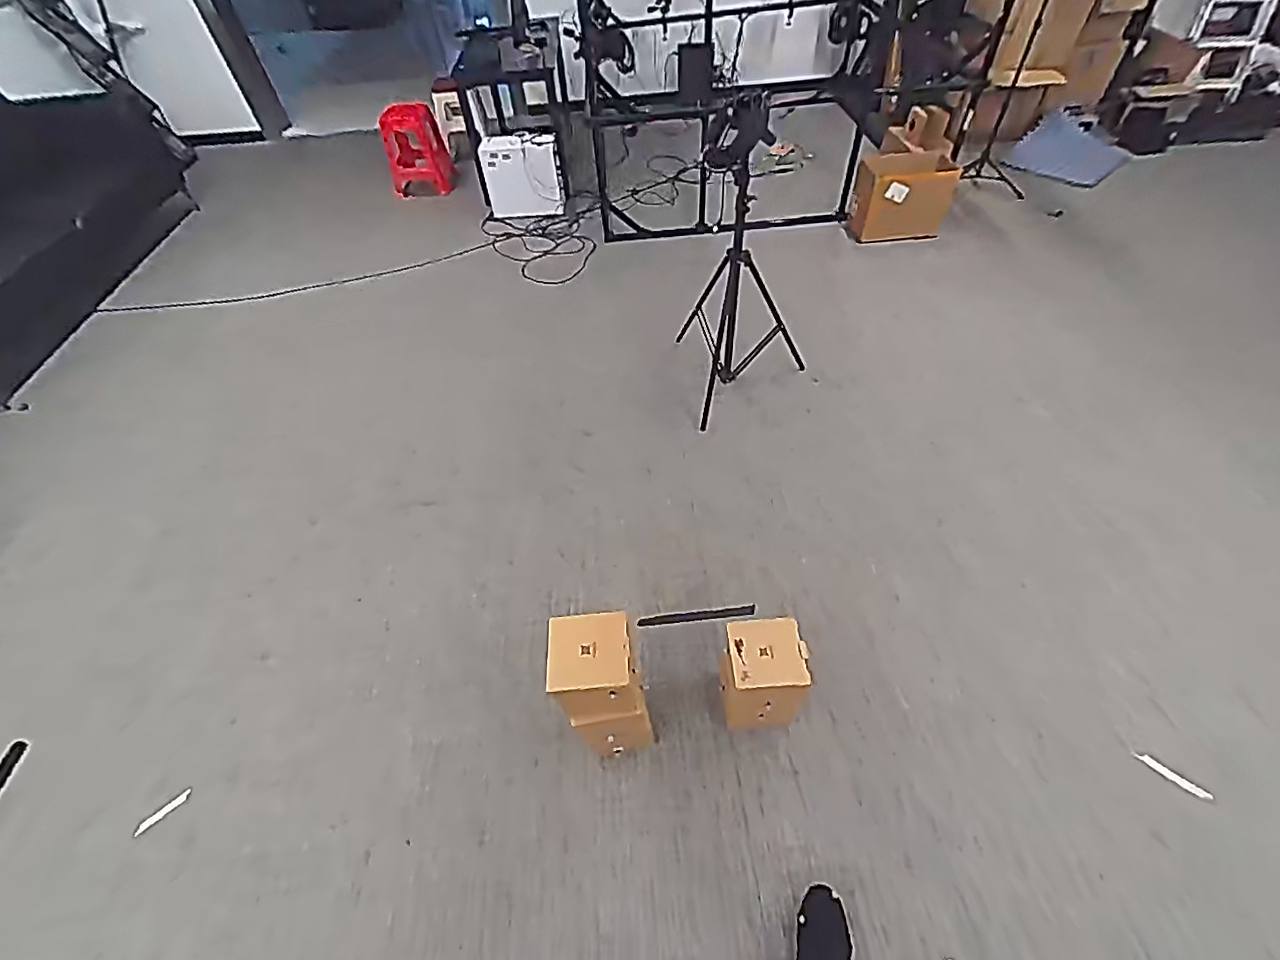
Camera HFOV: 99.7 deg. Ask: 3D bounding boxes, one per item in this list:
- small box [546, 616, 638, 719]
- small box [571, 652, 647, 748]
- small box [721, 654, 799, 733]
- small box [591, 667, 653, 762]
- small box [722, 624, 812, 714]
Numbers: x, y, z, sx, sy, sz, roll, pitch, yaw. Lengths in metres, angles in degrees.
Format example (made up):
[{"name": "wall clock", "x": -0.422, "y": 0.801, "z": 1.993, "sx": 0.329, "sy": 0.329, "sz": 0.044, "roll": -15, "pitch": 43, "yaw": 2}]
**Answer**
[{"name": "small box", "x": -0.102, "y": 0.422, "z": 1.209, "sx": 0.179, "sy": 0.176, "sz": 0.168, "roll": -5, "pitch": 50, "yaw": 1}, {"name": "small box", "x": -0.078, "y": 0.533, "z": 1.326, "sx": 0.168, "sy": 0.176, "sz": 0.179, "roll": -9, "pitch": 51, "yaw": -2}, {"name": "small box", "x": 0.317, "y": 0.577, "z": 1.469, "sx": 0.179, "sy": 0.176, "sz": 0.168, "roll": -4, "pitch": 51, "yaw": 0}, {"name": "small box", "x": -0.061, "y": 0.632, "z": 1.455, "sx": 0.168, "sy": 0.176, "sz": 0.179, "roll": -10, "pitch": 51, "yaw": -4}, {"name": "small box", "x": 0.307, "y": 0.472, "z": 1.344, "sx": 0.179, "sy": 0.176, "sz": 0.168, "roll": -3, "pitch": 50, "yaw": 1}]
